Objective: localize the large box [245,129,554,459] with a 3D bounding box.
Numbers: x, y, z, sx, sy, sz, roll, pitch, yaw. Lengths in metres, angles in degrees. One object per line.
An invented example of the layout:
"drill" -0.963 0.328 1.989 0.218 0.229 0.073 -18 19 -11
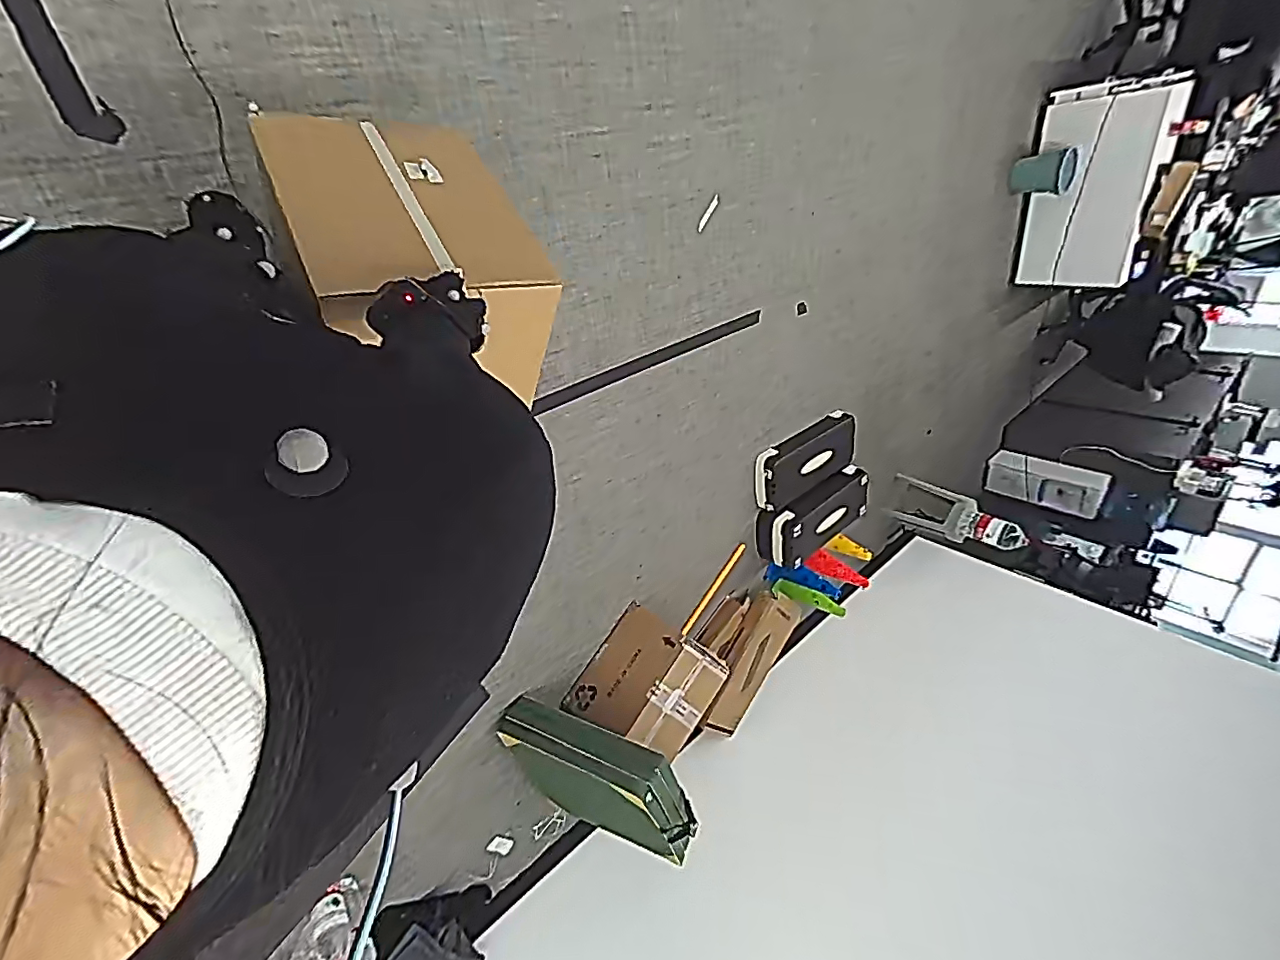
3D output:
"large box" -0.389 -0.304 0.892 0.320 0.408 0.320 -17 152 -33
